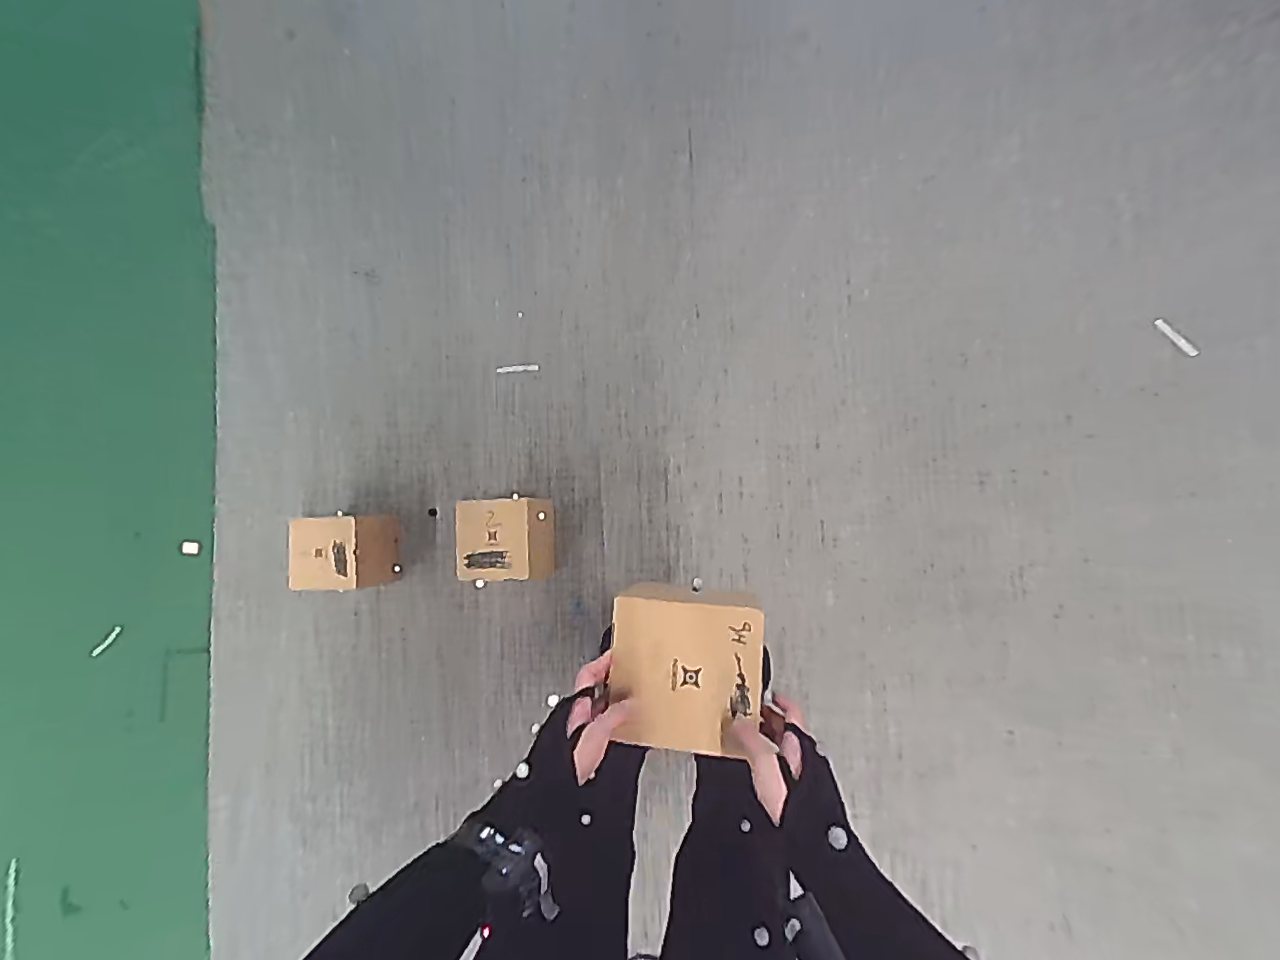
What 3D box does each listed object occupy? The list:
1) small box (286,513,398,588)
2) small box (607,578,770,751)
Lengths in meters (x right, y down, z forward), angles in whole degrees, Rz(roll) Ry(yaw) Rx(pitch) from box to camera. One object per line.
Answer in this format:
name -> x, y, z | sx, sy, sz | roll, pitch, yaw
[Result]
small box -> -0.699, 0.163, 1.285 | 0.179, 0.176, 0.168 | -2, 86, 10
small box -> 0.069, 0.216, 0.683 | 0.179, 0.176, 0.168 | 3, 84, 12
